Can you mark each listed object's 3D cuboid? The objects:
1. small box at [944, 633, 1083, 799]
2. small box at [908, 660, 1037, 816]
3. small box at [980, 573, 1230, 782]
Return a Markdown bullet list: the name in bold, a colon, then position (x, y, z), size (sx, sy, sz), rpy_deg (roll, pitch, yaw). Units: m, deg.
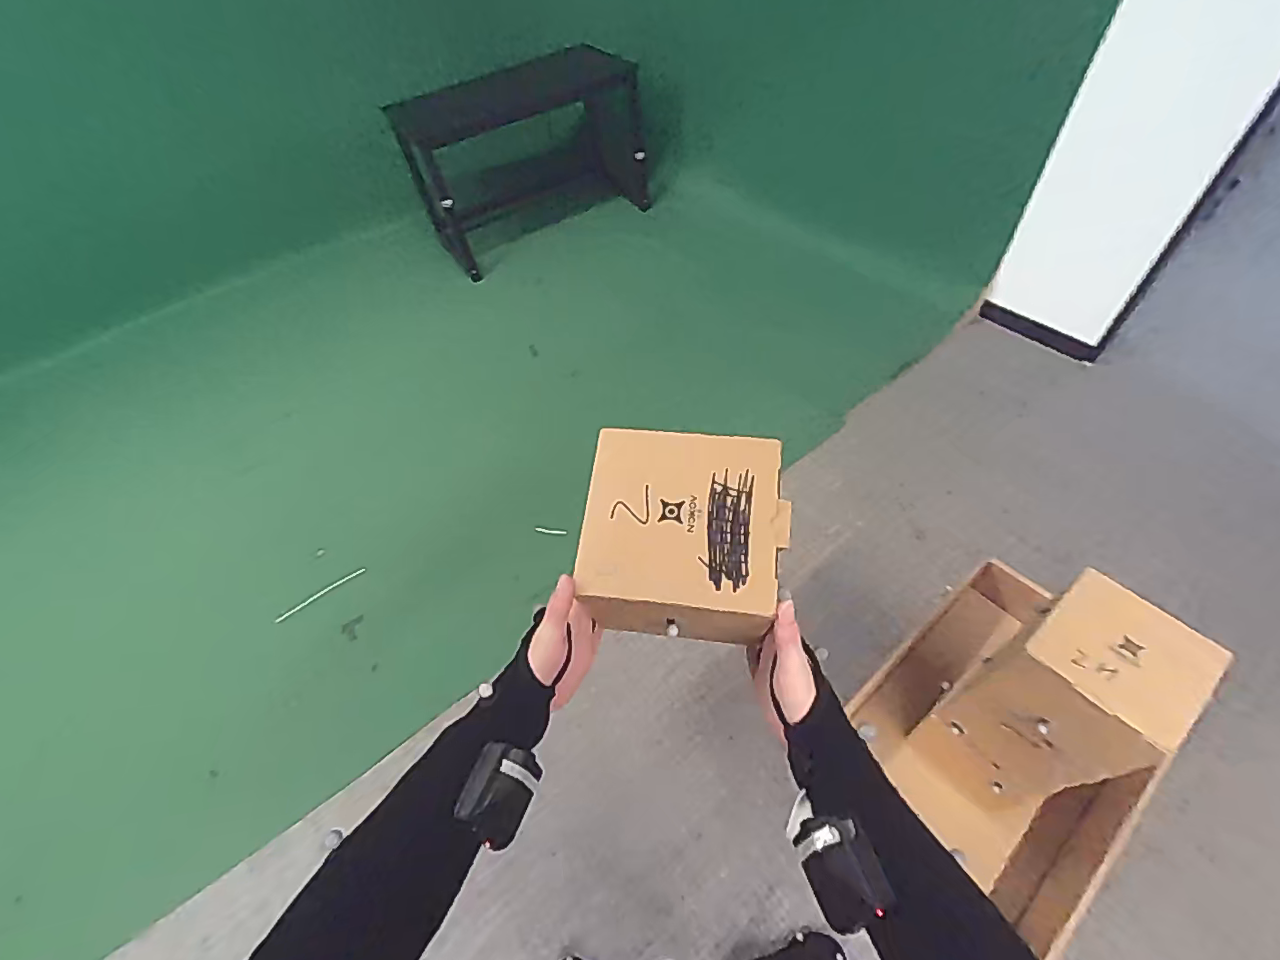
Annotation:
- **small box**: position (0.616, 0.367, 0.852), size (0.179, 0.176, 0.168), rpy_deg (-32, 56, -20)
- **small box**: position (0.624, 0.470, 0.979), size (0.168, 0.176, 0.179), rpy_deg (-35, 56, -21)
- **small box**: position (0.600, 0.265, 0.723), size (0.179, 0.176, 0.168), rpy_deg (-35, 56, -20)
